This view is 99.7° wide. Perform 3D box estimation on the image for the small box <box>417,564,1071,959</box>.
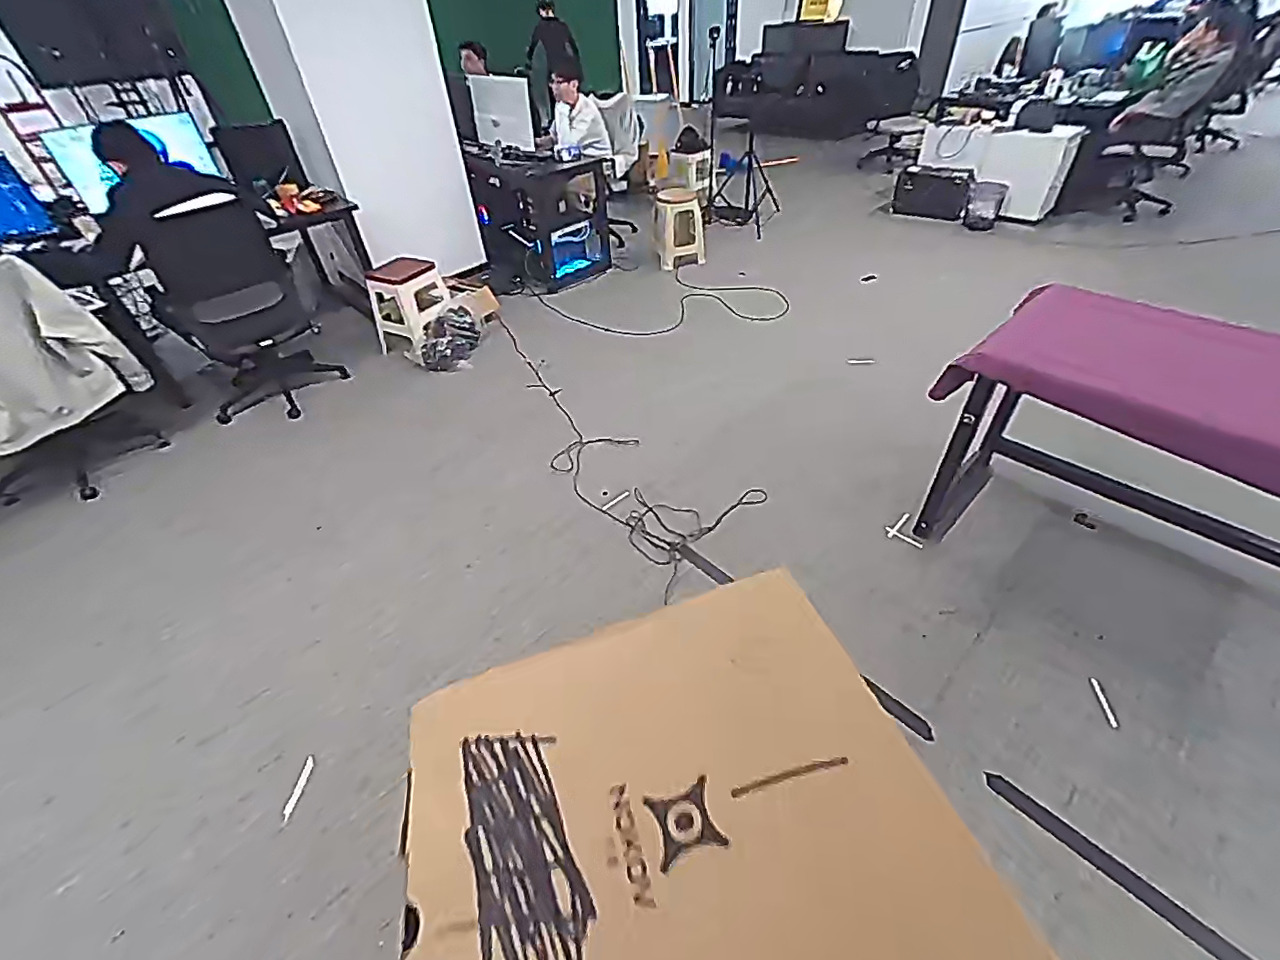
[{"bbox_3d":[0.026,0.172,0.231,0.179,0.176,0.168,-18,38,-5],"label":"small box"}]
